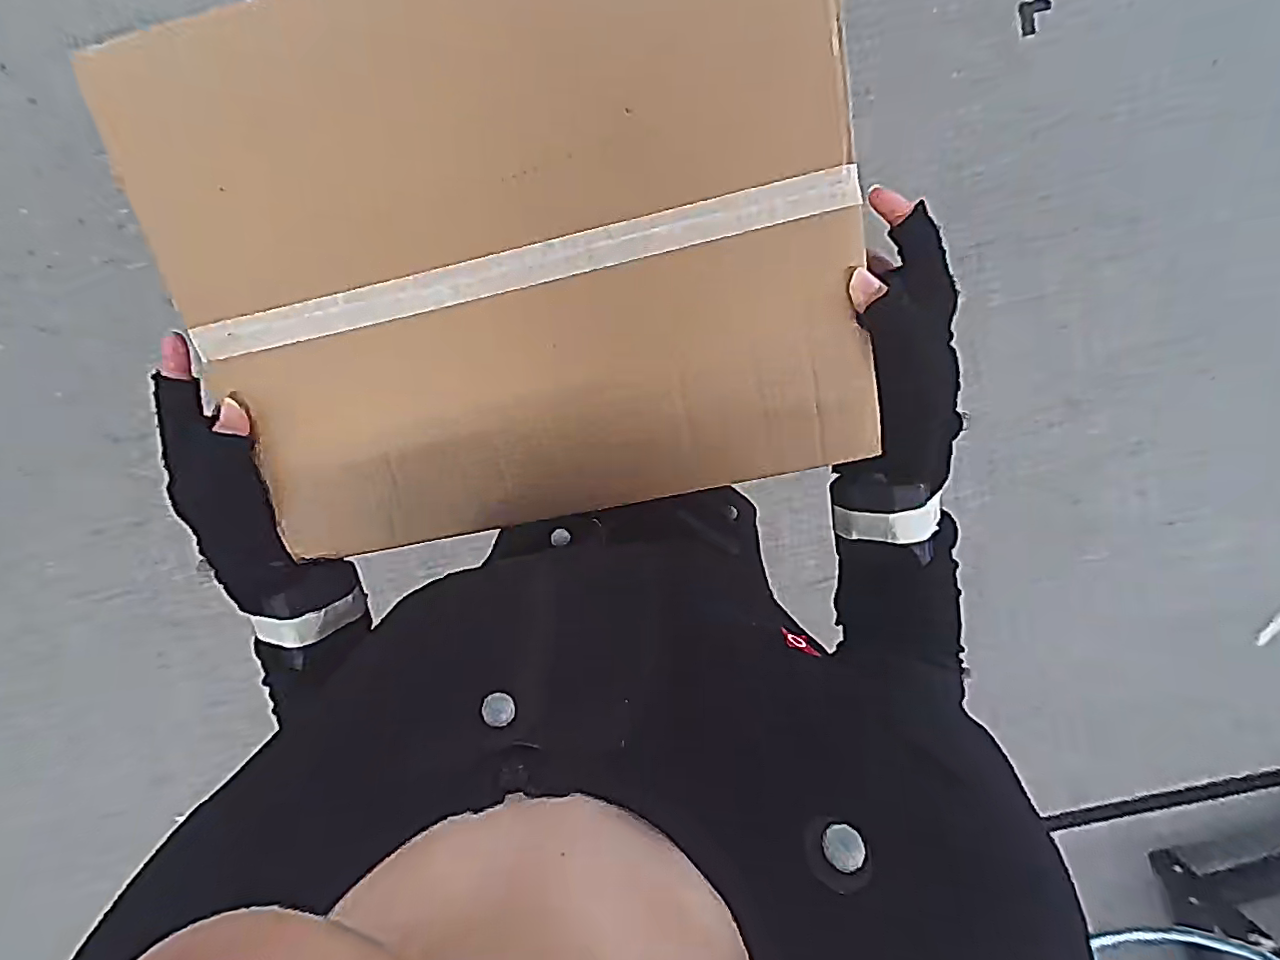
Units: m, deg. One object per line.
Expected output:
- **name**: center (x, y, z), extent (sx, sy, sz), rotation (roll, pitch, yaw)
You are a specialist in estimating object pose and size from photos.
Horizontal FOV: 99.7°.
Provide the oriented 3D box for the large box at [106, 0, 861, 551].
- **large box**: center (-0.073, -0.175, 0.471), extent (0.408, 0.320, 0.320), rotation (-11, 106, 6)
